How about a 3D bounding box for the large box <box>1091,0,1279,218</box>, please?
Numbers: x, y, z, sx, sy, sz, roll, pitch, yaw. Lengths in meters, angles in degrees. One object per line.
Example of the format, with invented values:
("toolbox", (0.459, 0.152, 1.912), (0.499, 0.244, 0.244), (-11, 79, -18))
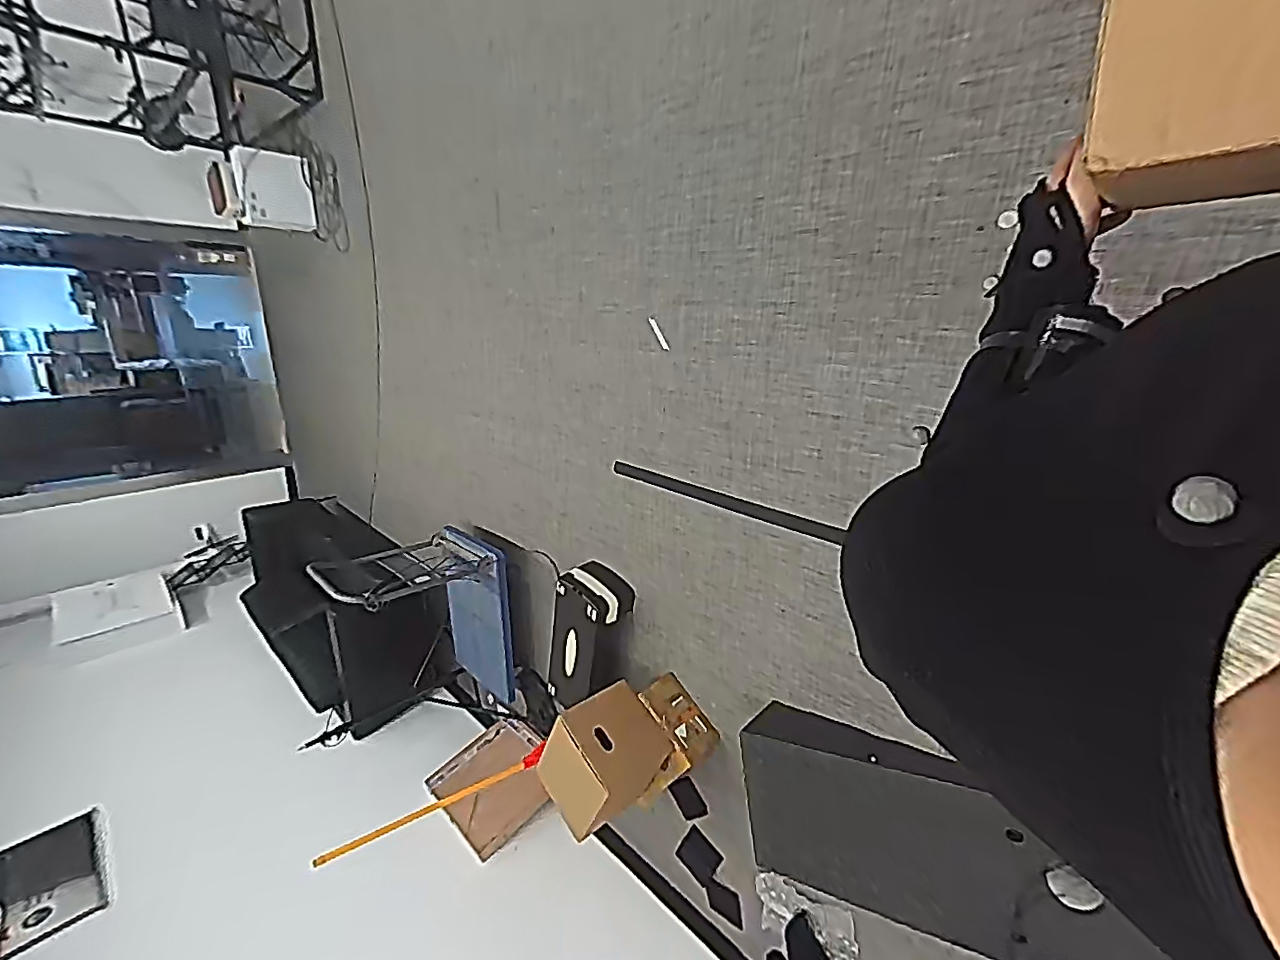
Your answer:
("large box", (0.448, -0.308, 0.200), (0.408, 0.320, 0.320), (10, 114, 39))
